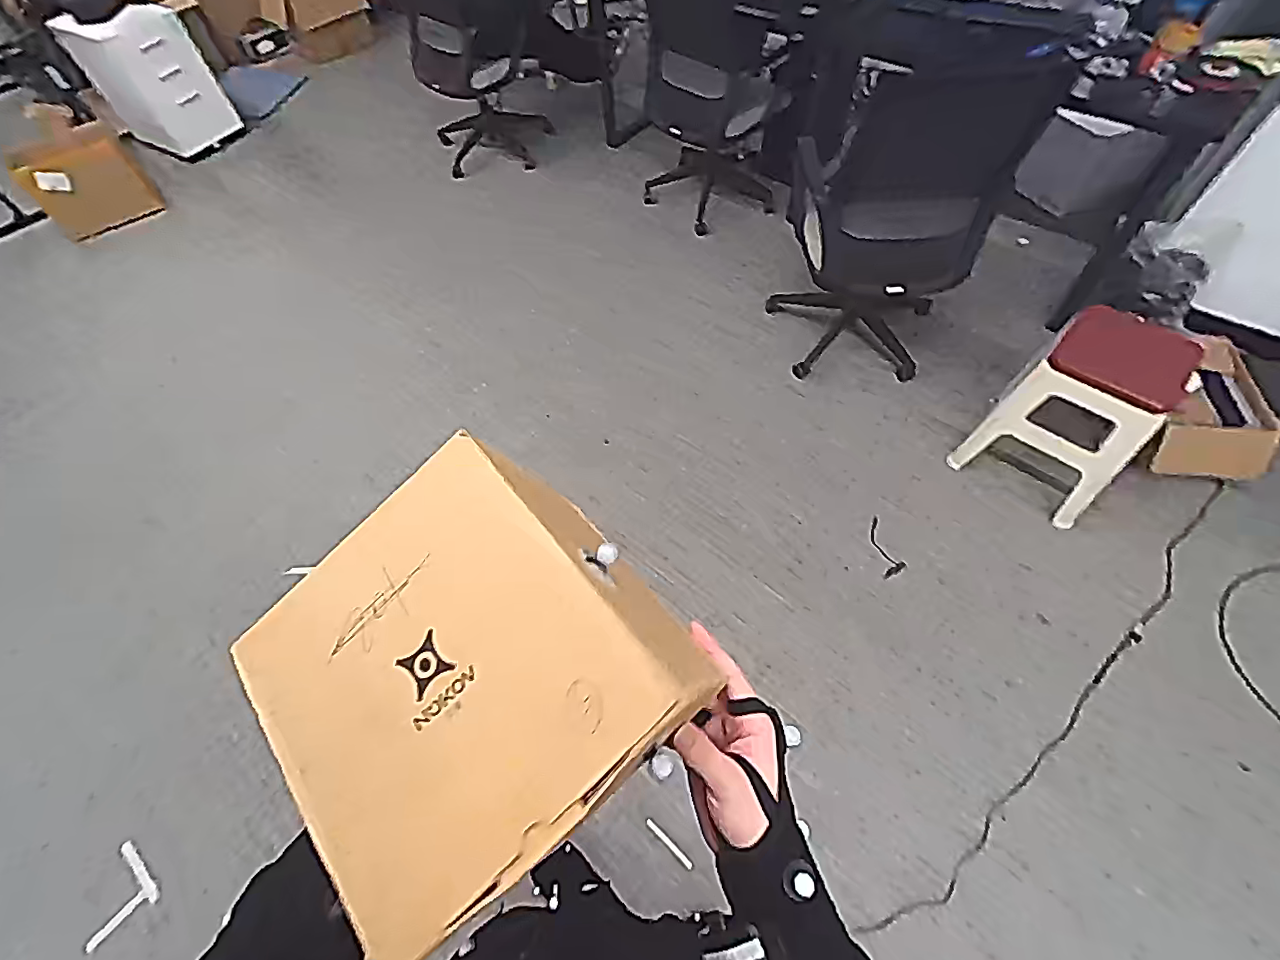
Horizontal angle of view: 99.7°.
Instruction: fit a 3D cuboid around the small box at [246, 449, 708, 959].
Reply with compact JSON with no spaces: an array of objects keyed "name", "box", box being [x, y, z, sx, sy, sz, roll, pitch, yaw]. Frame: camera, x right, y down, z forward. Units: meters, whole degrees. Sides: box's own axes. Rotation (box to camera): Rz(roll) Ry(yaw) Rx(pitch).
[{"name":"small box","box":[-0.077,0.115,0.333,0.168,0.176,0.179,-45,68,-3]}]
